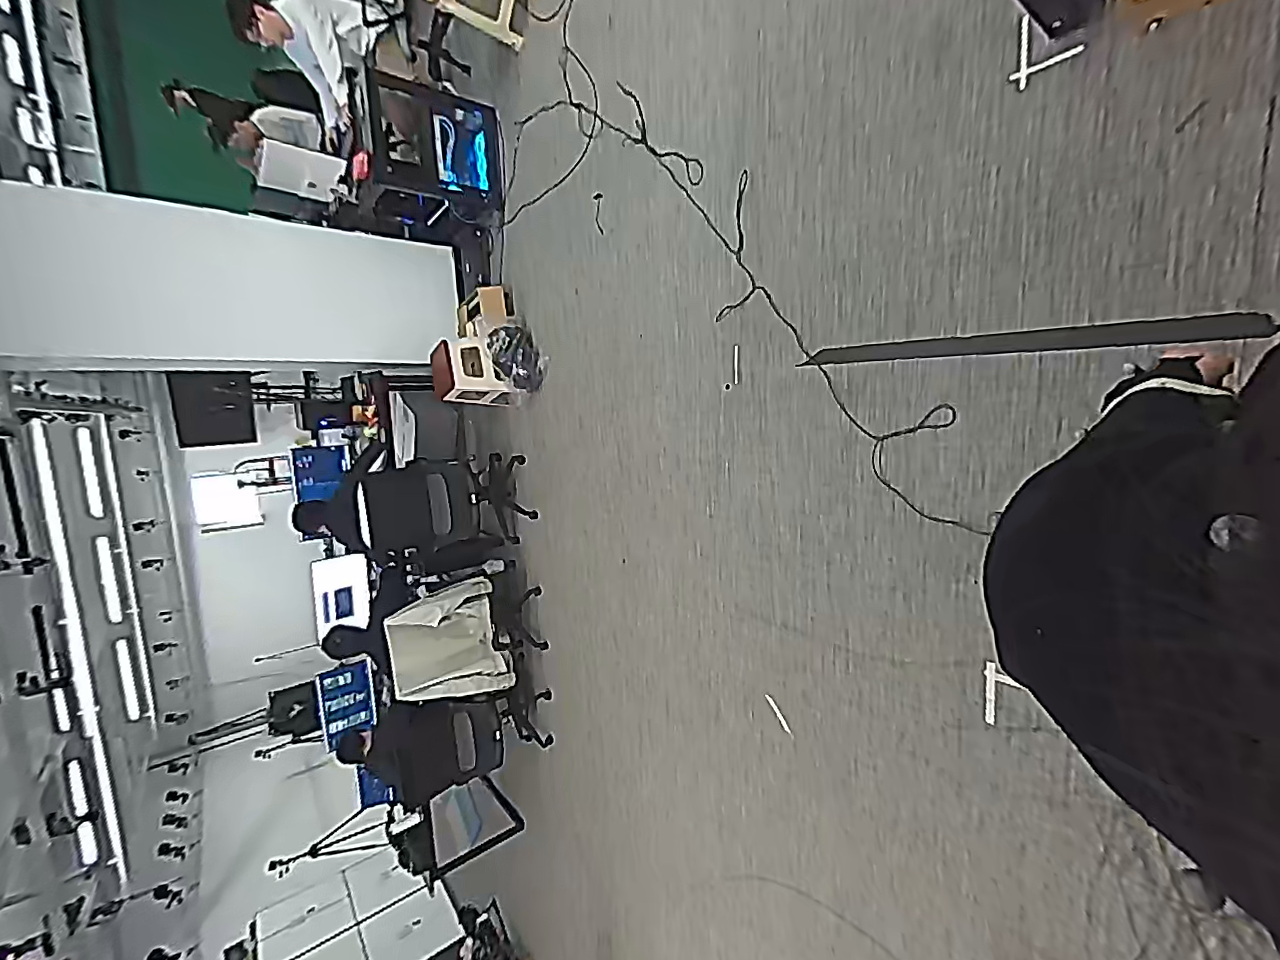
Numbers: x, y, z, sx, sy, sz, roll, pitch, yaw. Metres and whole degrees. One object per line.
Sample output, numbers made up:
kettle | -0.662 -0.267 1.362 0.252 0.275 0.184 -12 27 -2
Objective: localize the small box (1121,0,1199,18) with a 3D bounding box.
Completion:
small box | 0.974 -0.960 0.945 0.168 0.176 0.179 11 104 51
